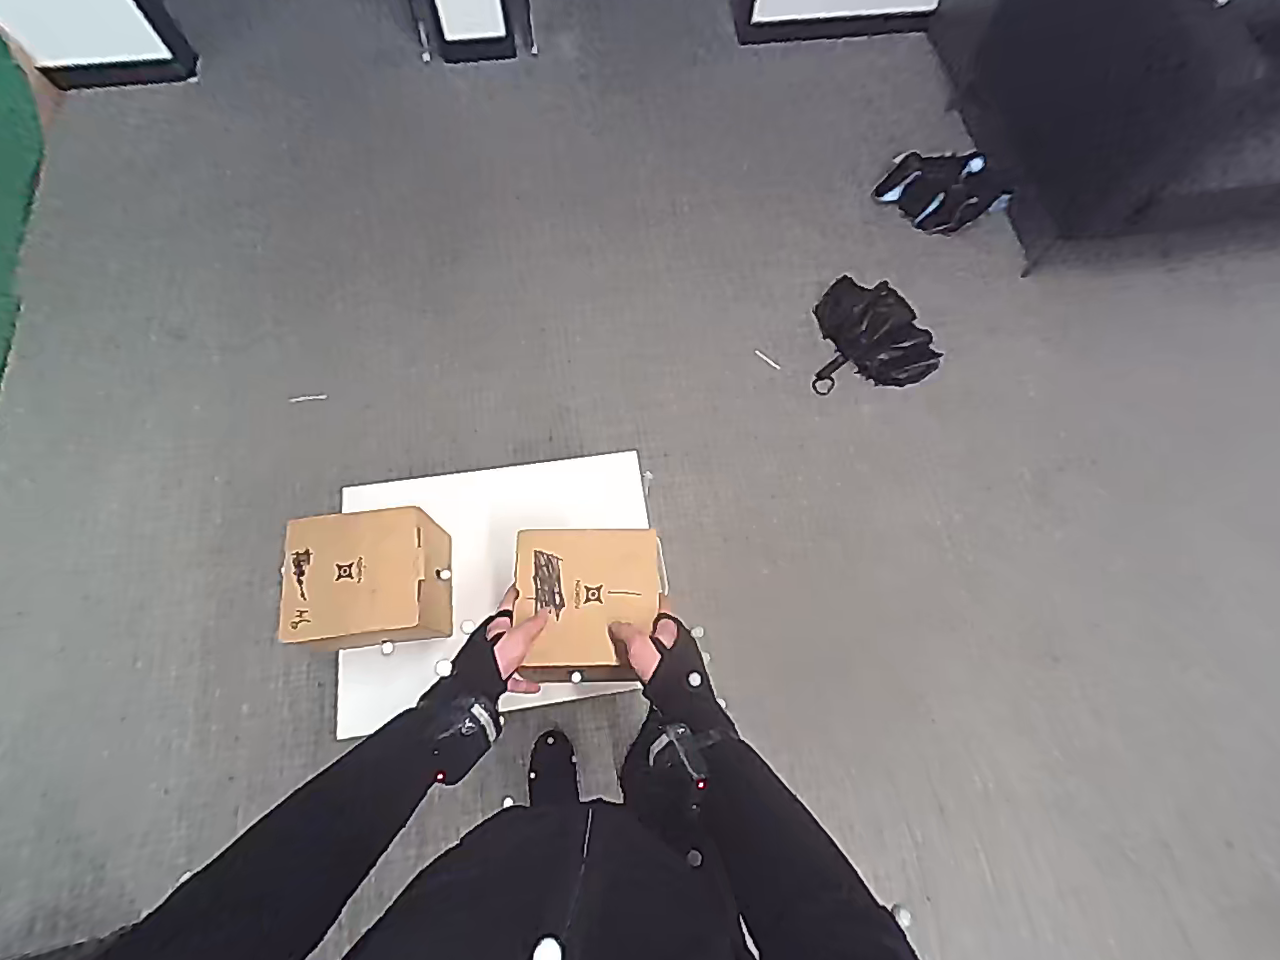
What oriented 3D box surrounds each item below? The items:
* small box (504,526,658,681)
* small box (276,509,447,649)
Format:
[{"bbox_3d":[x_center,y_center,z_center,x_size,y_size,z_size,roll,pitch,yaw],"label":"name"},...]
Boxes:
[{"bbox_3d":[-0.069,0.167,0.708,0.179,0.176,0.168,0,64,-3],"label":"small box"},{"bbox_3d":[-0.386,0.149,0.784,0.179,0.176,0.168,-6,71,-6],"label":"small box"}]
